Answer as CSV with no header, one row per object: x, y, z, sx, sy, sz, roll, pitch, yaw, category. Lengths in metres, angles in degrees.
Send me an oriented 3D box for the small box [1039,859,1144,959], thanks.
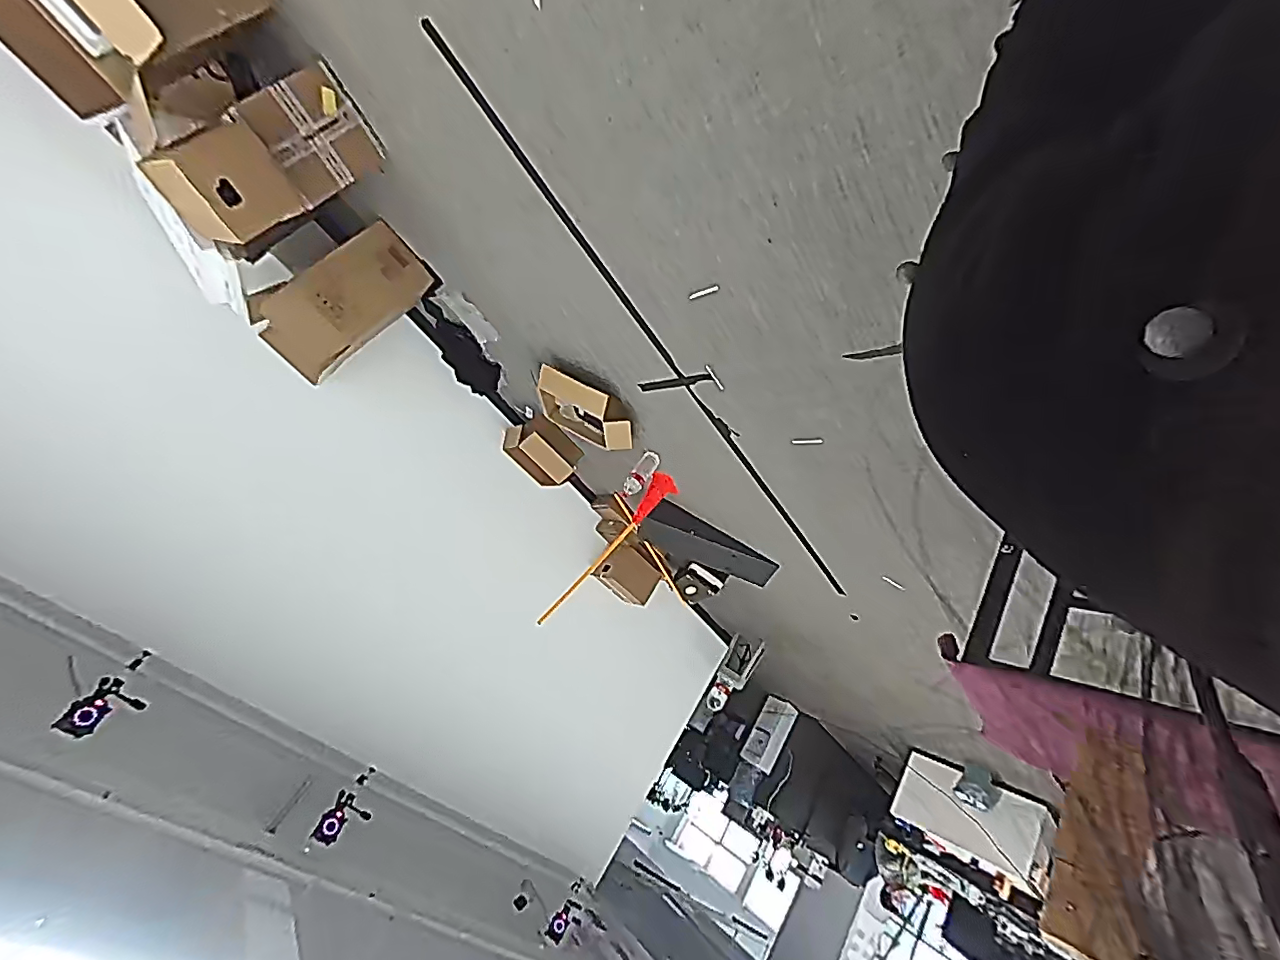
1.076,1.049,1.290,0.168,0.176,0.179,11,148,47,small box

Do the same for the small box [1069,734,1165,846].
1.254,0.808,1.420,0.168,0.176,0.179,8,144,48,small box
